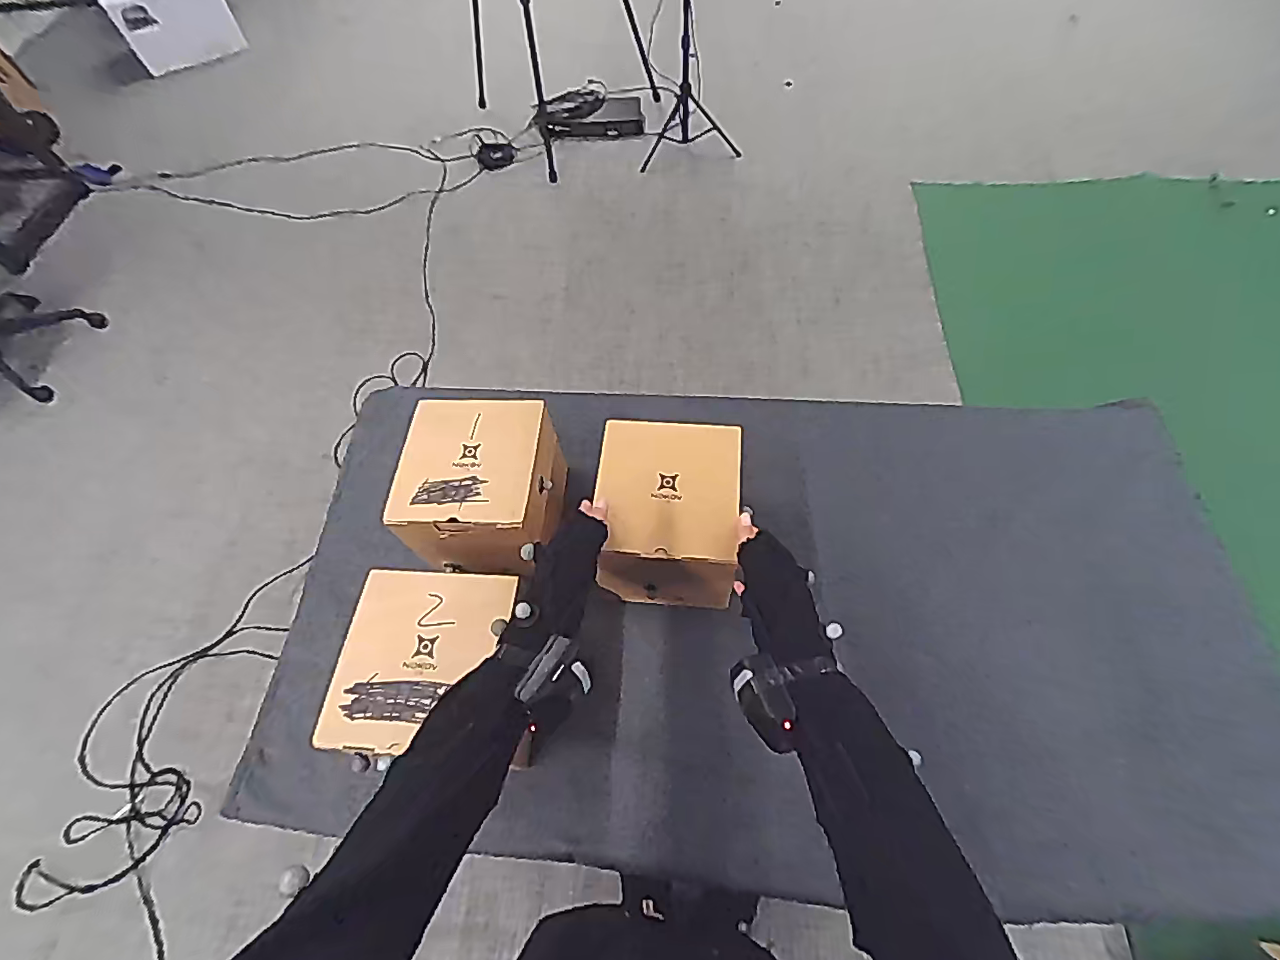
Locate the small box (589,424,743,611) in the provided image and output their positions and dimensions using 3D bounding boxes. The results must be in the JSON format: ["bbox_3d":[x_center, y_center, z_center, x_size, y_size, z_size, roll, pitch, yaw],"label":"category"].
[{"bbox_3d":[0.037,0.051,0.686,0.168,0.176,0.179,3,62,6],"label":"small box"}]

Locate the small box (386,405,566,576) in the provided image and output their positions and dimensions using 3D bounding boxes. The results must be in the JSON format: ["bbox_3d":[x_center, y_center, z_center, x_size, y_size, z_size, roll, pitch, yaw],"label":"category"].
[{"bbox_3d":[-0.200,0.020,0.717,0.168,0.176,0.179,1,60,4],"label":"small box"}]
